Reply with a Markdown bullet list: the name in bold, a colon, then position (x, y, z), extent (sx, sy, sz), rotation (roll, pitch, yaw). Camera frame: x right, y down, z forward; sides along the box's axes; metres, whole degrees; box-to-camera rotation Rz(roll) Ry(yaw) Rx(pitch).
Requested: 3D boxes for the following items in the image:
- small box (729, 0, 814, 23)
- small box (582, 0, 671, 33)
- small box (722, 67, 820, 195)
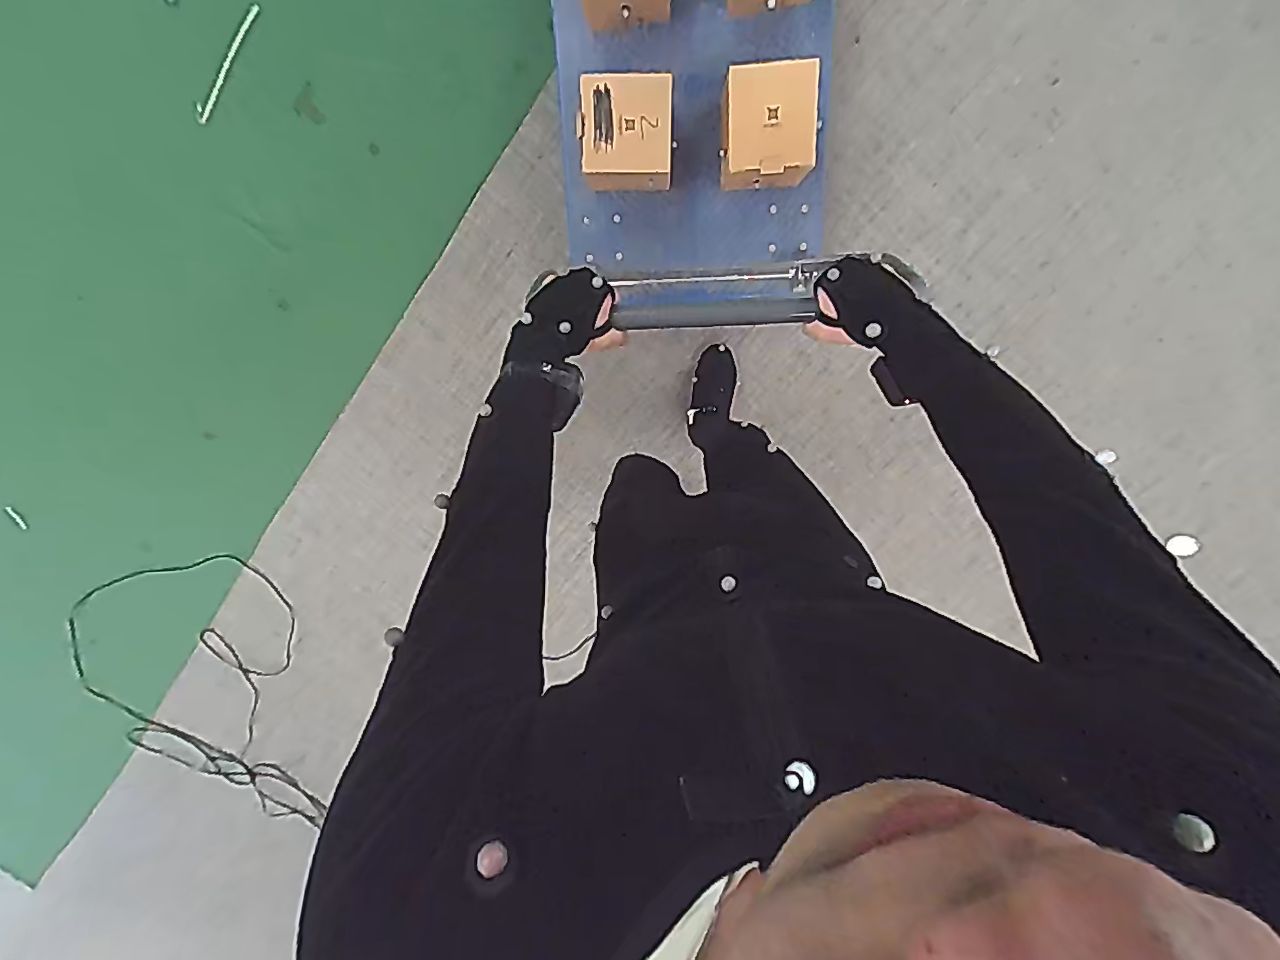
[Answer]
- **small box**: position (0.249, -0.994, 0.992), extent (0.168, 0.176, 0.179), rotation (-6, 108, 6)
- **small box**: position (-0.029, -0.978, 1.012), extent (0.168, 0.176, 0.179), rotation (-5, 107, 4)
- **small box**: position (0.255, -0.693, 1.090), extent (0.168, 0.176, 0.179), rotation (-2, 108, 4)
